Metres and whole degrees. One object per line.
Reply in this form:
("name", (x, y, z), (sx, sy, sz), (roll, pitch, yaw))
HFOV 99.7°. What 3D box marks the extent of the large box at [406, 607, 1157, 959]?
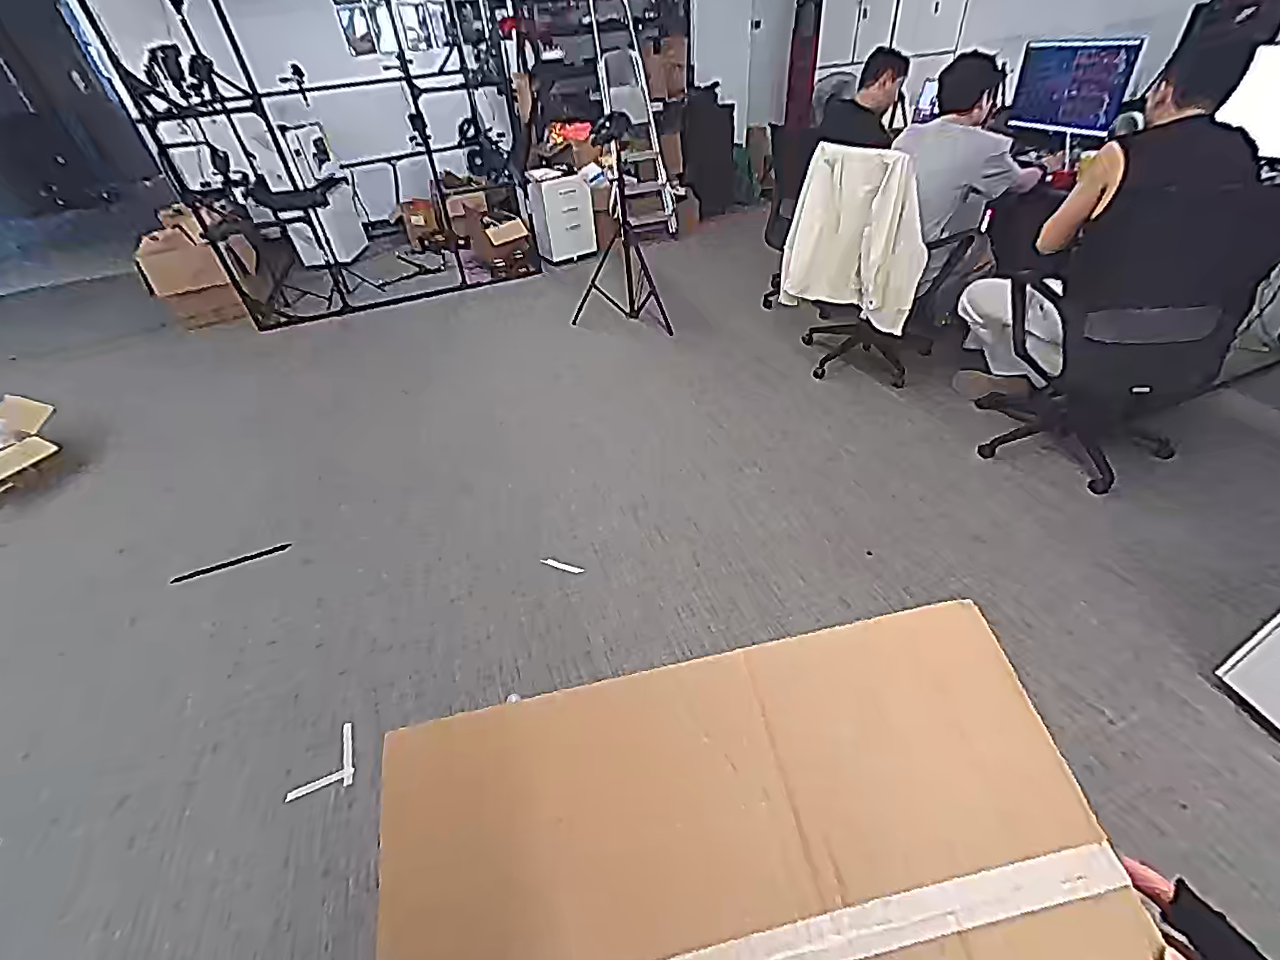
("large box", (0.077, 0.335, 0.421), (0.408, 0.320, 0.320), (-11, 60, -4))
